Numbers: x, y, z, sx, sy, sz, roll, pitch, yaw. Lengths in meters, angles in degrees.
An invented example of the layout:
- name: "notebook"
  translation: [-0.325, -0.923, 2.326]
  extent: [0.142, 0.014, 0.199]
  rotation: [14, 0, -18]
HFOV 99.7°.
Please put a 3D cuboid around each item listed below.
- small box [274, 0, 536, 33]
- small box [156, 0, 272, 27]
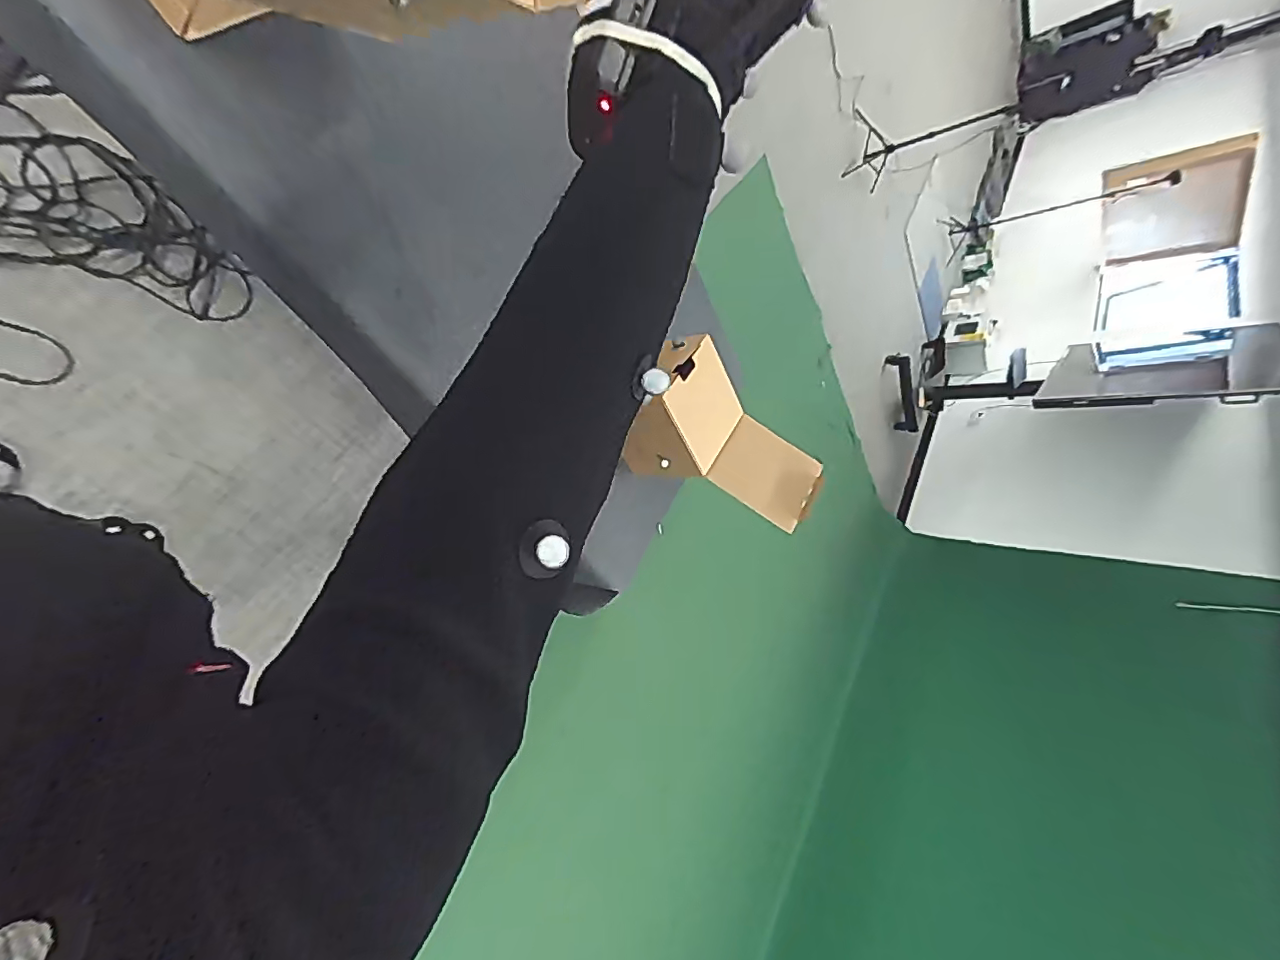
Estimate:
- name: "small box"
  translation: [-0.185, -0.391, 0.316]
  extent: [0.179, 0.176, 0.168]
  rotation: [-37, 136, -52]
- name: "small box"
  translation: [-0.367, -0.527, 0.438]
  extent: [0.168, 0.176, 0.179]
  rotation: [-56, 132, -29]
